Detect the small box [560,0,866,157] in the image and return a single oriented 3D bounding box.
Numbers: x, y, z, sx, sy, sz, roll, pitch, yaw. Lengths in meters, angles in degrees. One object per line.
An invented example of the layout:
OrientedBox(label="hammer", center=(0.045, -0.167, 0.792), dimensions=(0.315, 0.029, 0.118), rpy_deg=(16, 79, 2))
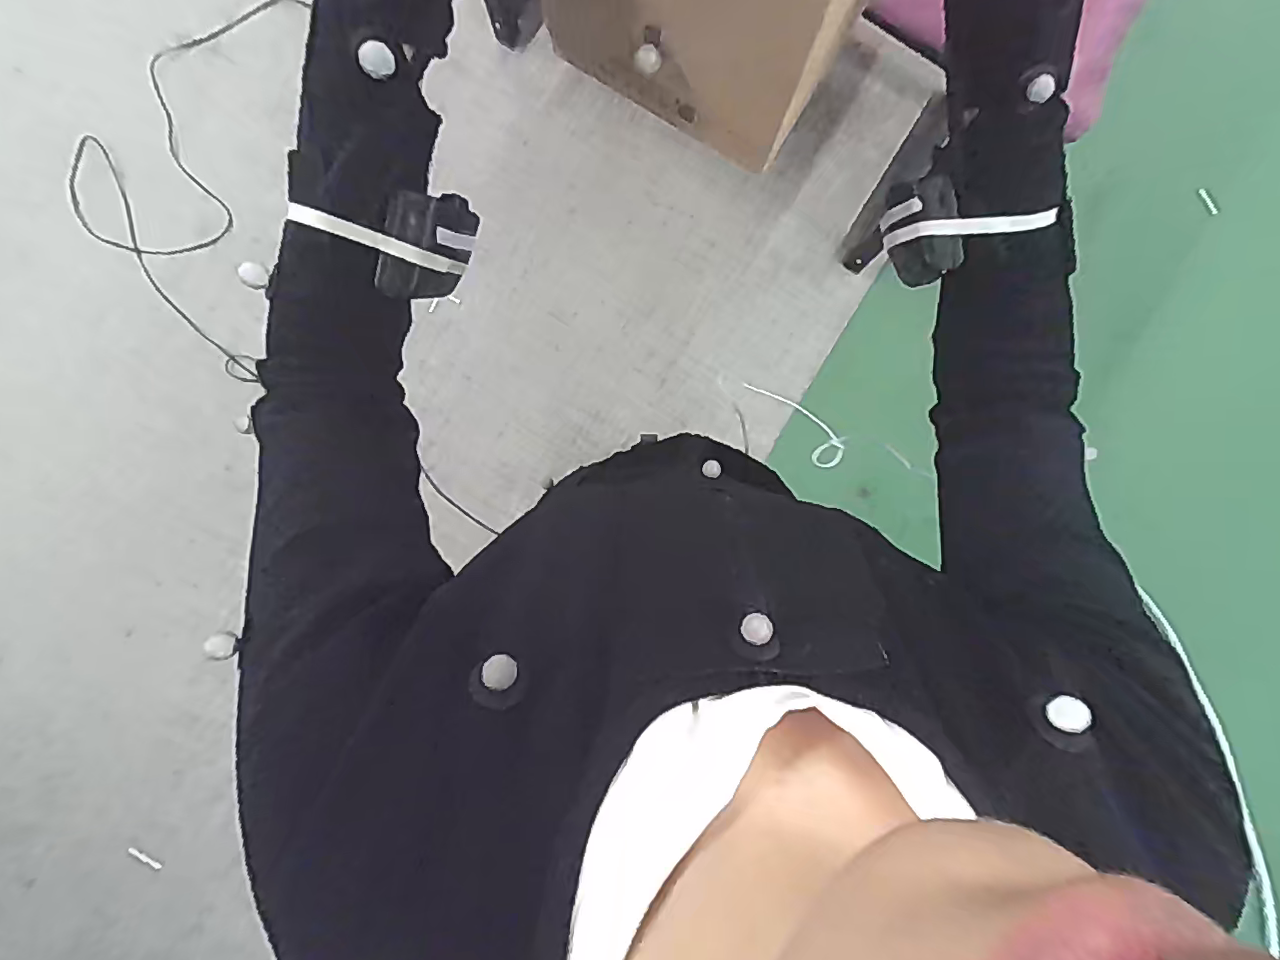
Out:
OrientedBox(label="small box", center=(0.056, -0.322, 0.276), dimensions=(0.168, 0.176, 0.179), rpy_deg=(32, 88, 1))
